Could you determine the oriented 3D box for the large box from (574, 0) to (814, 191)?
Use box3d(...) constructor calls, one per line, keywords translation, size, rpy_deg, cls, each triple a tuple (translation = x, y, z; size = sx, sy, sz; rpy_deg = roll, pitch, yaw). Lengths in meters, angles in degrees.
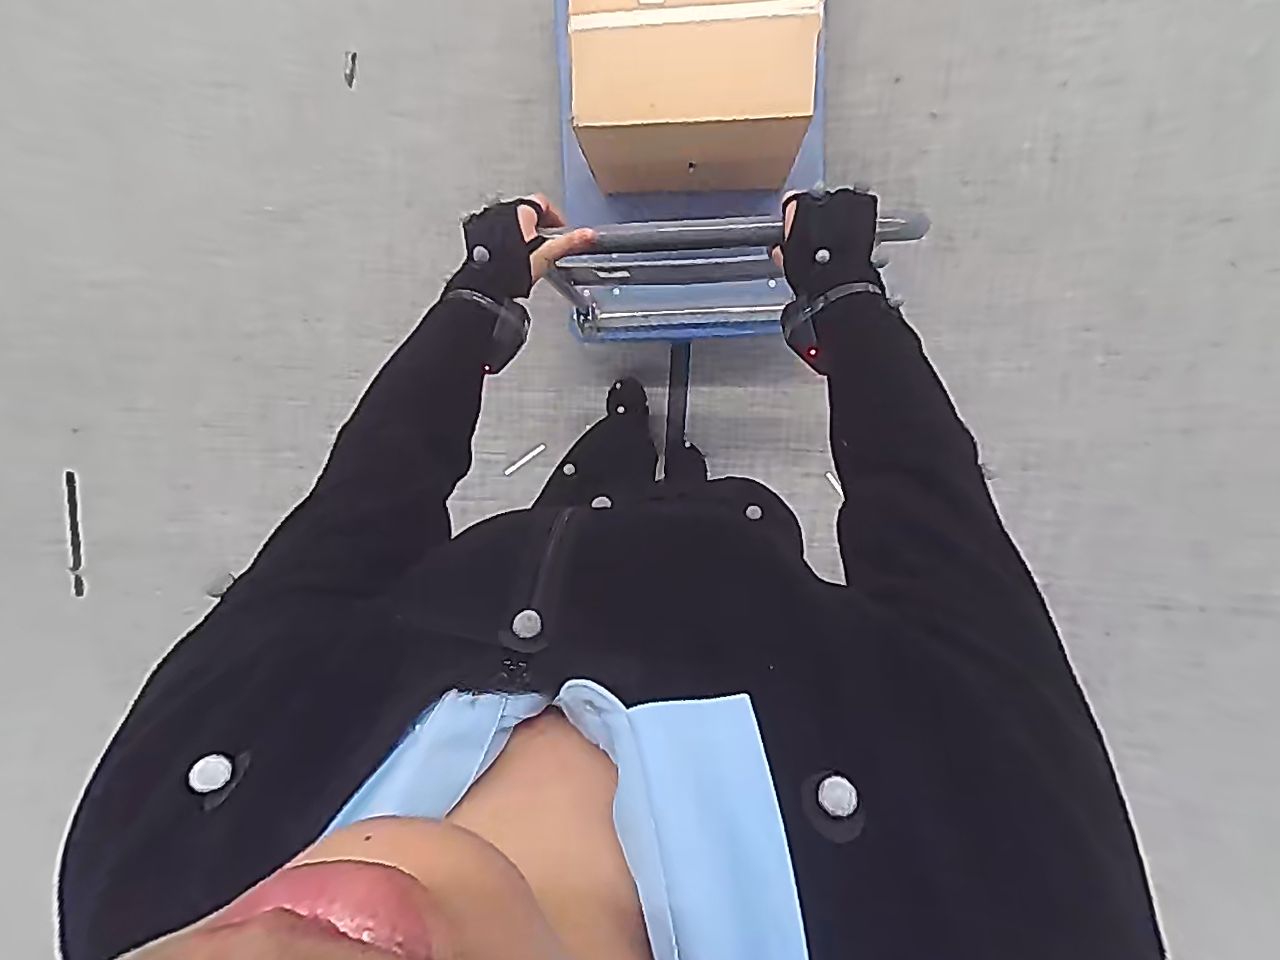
box3d(translation=(0.102, -0.782, 1.042), size=(0.408, 0.320, 0.320), rpy_deg=(1, 97, 6), cls="large box")
